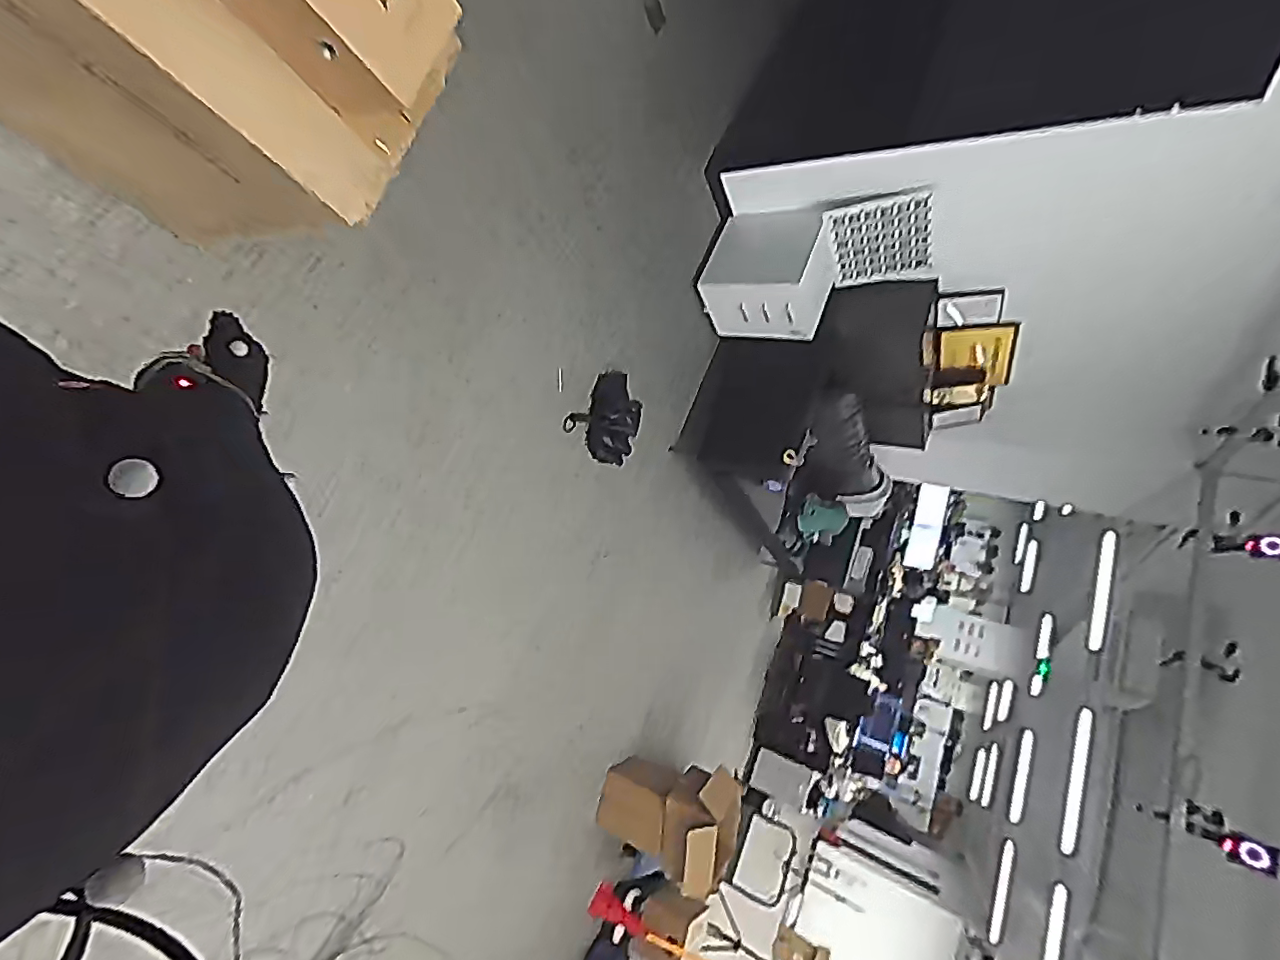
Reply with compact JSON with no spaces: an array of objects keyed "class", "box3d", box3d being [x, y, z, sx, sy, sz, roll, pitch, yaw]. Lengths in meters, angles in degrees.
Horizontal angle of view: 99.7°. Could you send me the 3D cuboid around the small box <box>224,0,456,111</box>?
[{"class":"small box","box3d":[-0.384,-0.610,0.693,0.179,0.176,0.168,34,78,-58]}]
